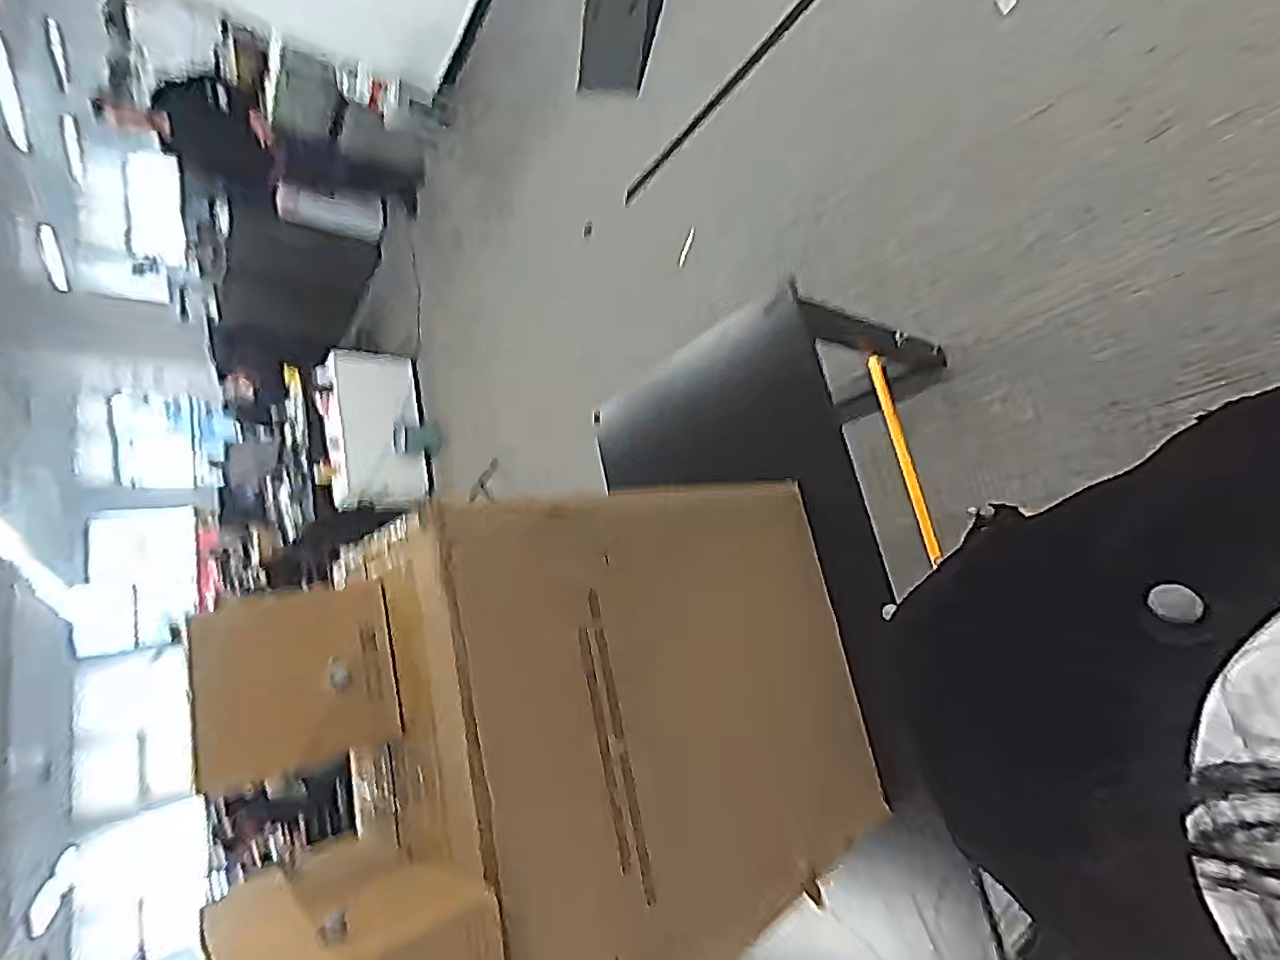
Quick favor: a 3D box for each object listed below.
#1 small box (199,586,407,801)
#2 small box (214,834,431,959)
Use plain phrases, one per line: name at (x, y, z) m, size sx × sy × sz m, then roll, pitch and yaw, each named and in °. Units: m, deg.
small box at (-0.370, 0.223, 0.593) m, size 0.179 × 0.176 × 0.168 m, roll -30°, pitch 70°, yaw 47°
small box at (-0.321, 0.489, 0.547) m, size 0.179 × 0.176 × 0.168 m, roll -28°, pitch 70°, yaw 47°
